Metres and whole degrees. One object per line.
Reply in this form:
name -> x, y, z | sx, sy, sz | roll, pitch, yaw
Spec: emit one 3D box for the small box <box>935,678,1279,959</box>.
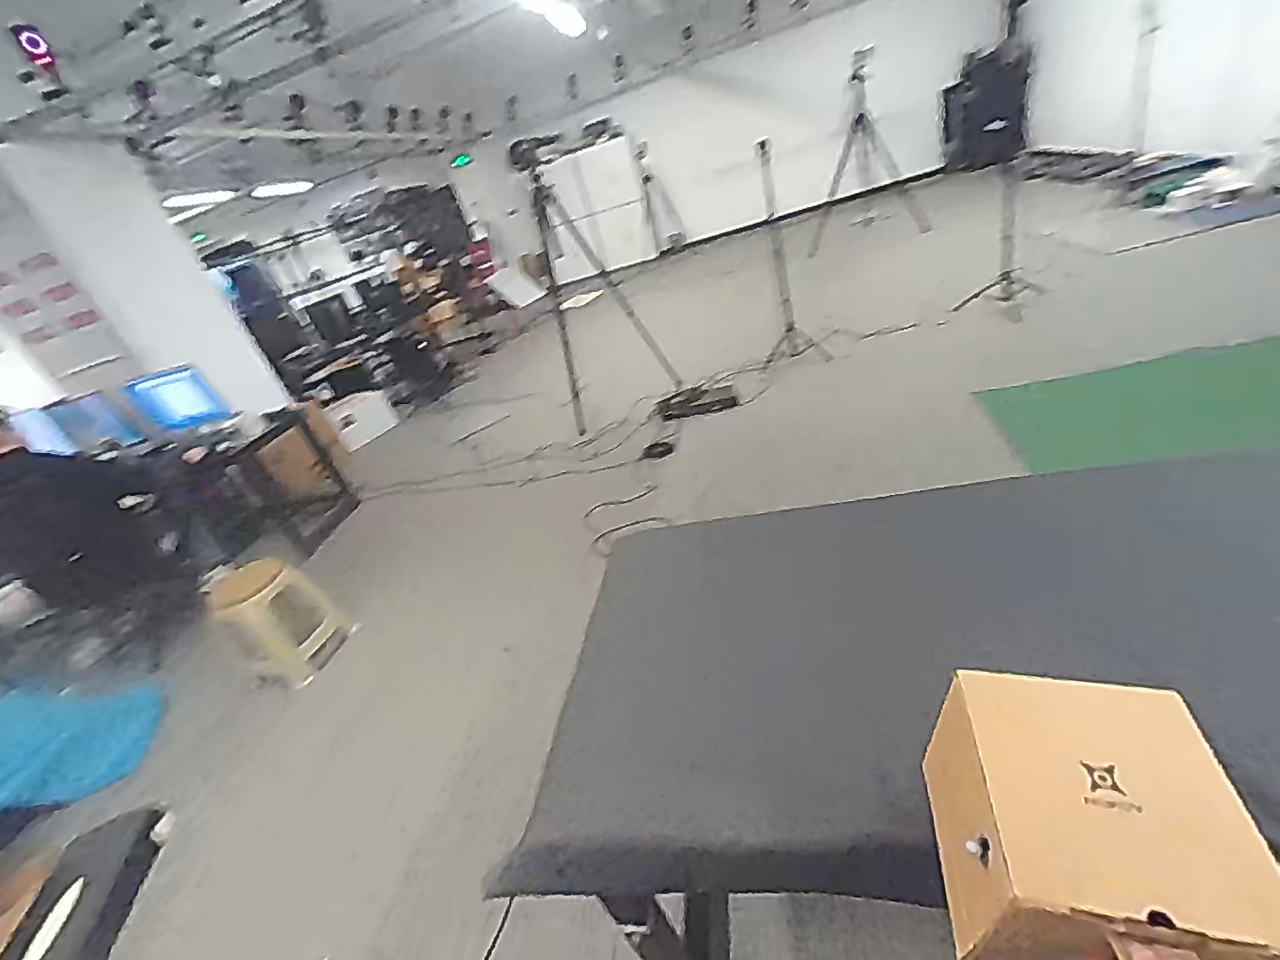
small box -> 0.356, 0.293, 0.437 | 0.168, 0.176, 0.179 | 2, 38, 15
